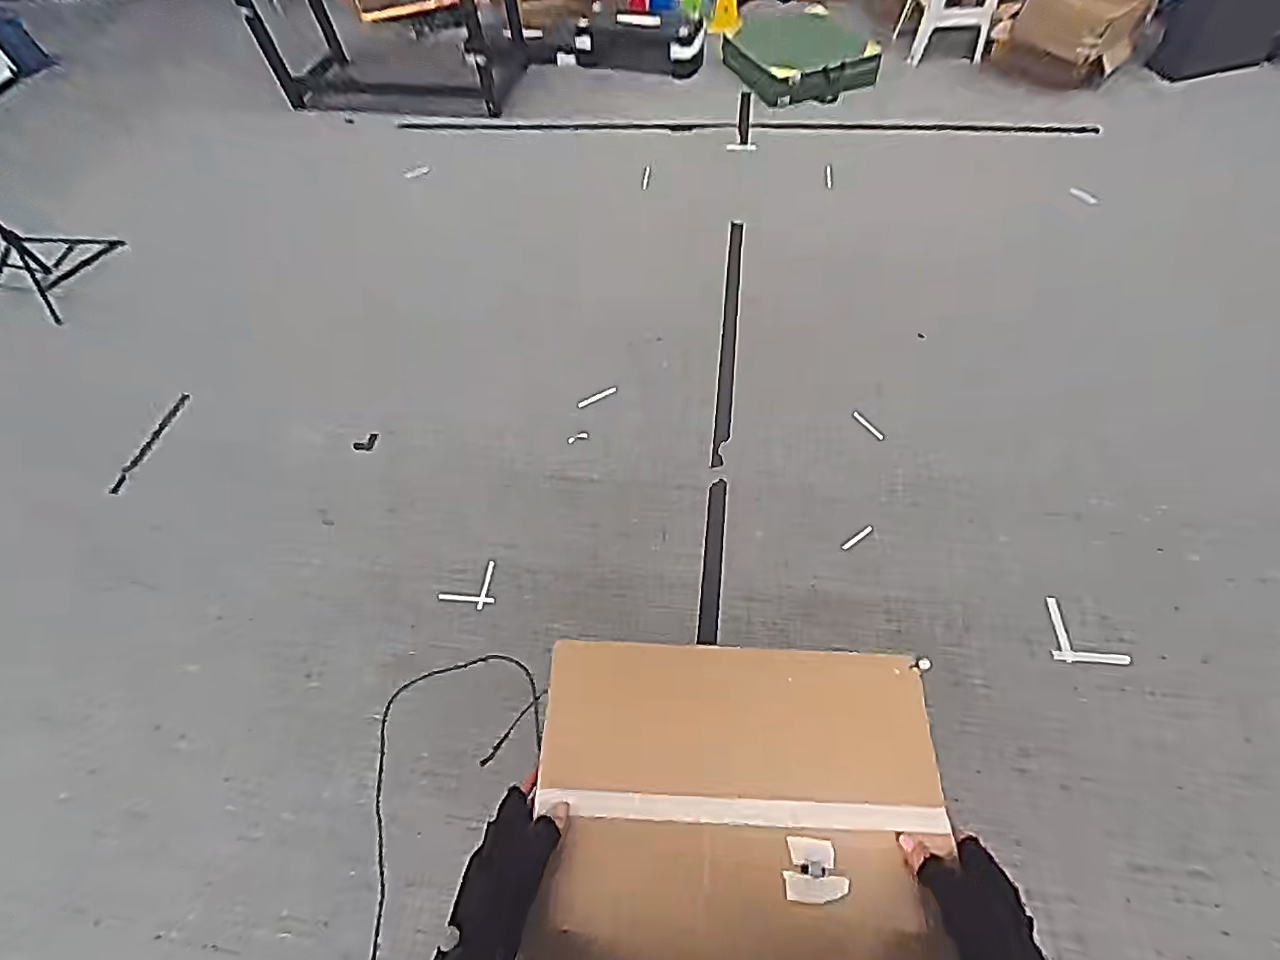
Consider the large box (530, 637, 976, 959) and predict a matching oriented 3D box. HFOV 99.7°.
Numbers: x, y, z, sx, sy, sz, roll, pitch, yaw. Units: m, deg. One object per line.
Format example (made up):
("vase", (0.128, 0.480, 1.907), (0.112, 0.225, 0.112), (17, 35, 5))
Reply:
("large box", (0.102, 0.392, 0.667), (0.408, 0.320, 0.320), (2, 61, 2))
